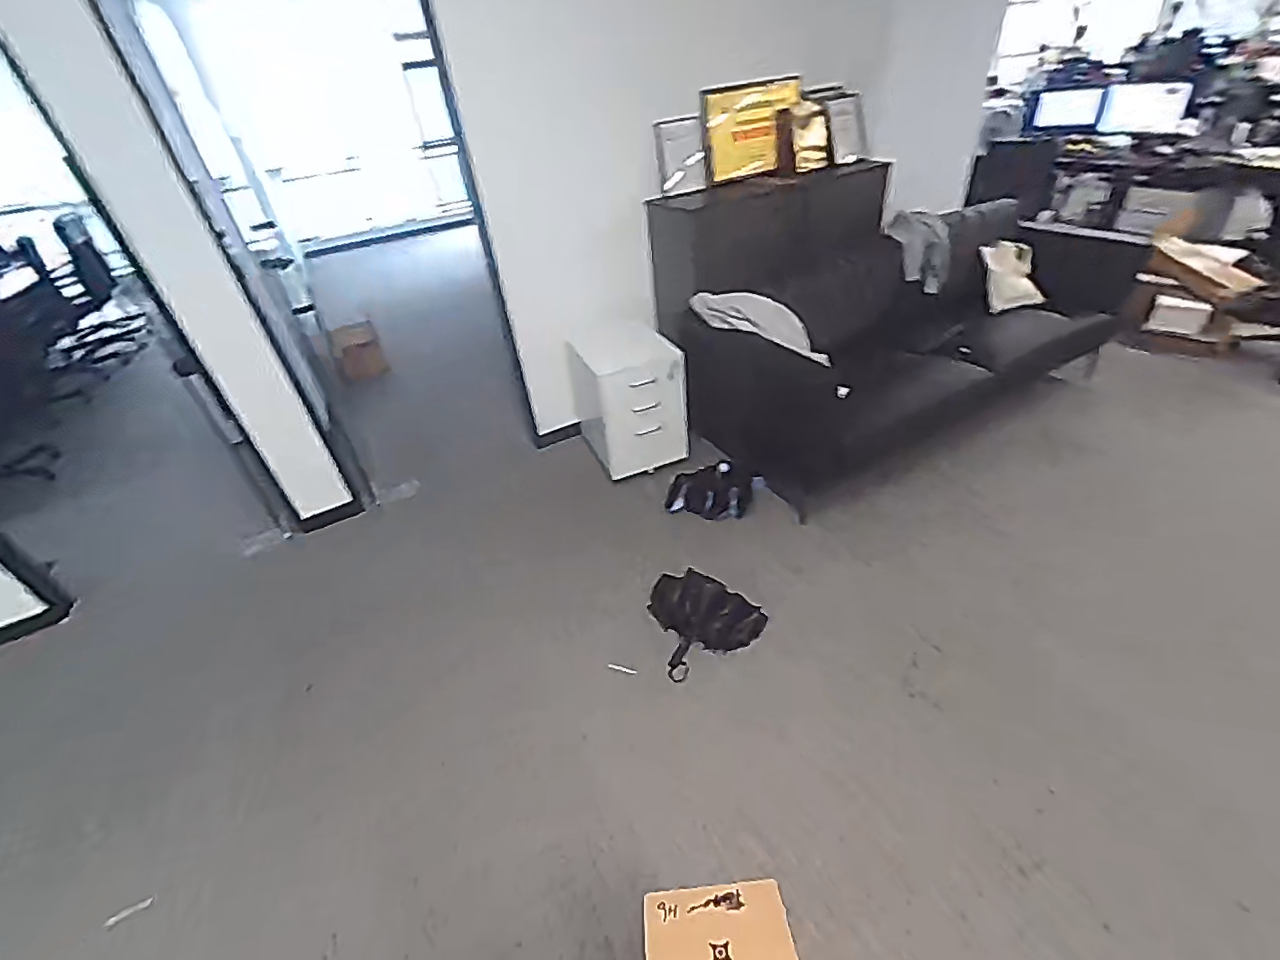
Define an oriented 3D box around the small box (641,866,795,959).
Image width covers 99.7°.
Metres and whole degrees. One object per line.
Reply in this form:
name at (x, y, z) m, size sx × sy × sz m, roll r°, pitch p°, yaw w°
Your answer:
small box at (0.094, 0.587, 0.605) m, size 0.168 × 0.176 × 0.179 m, roll -7°, pitch 13°, yaw 0°
